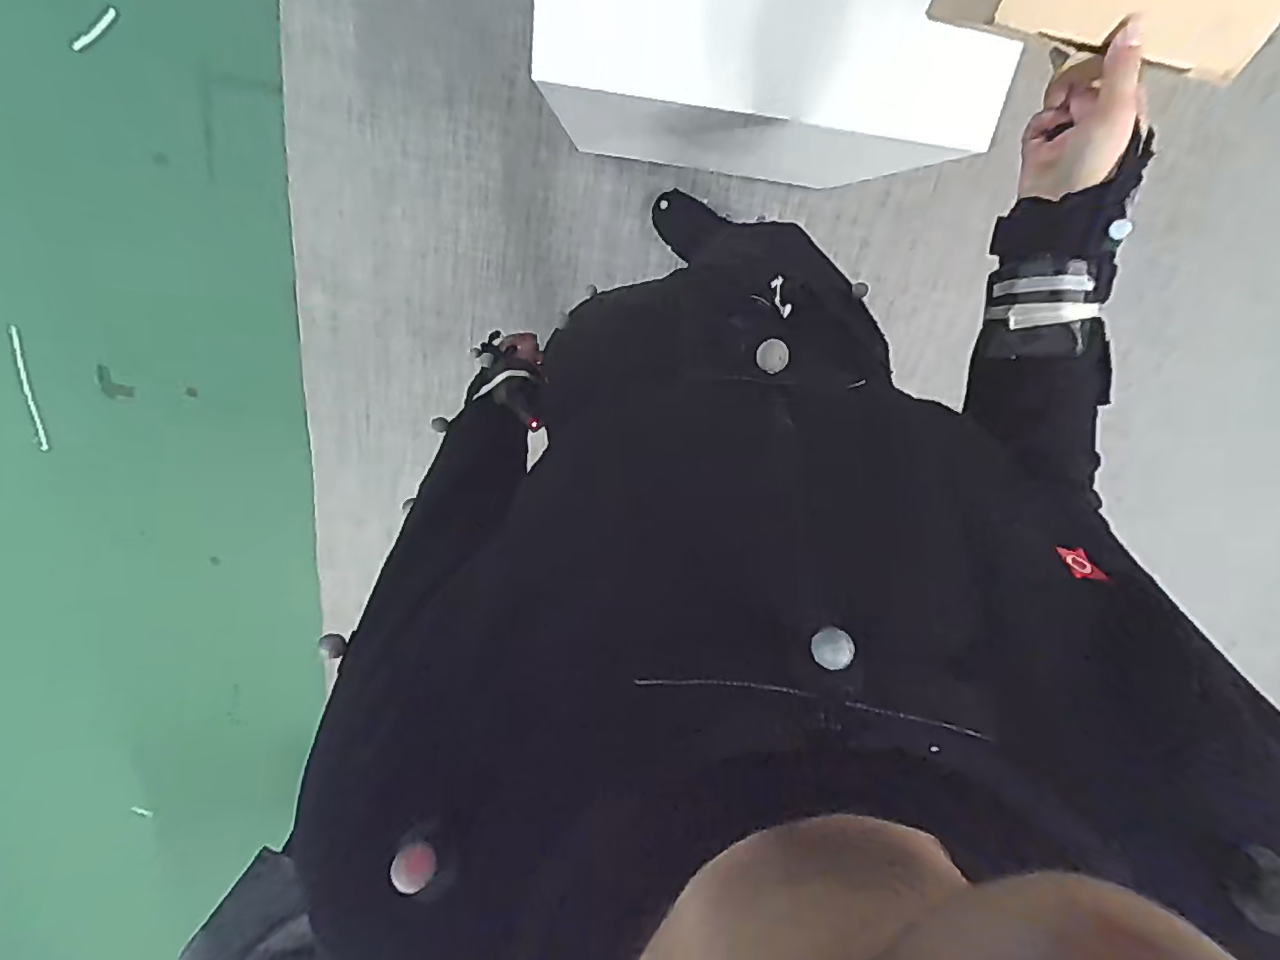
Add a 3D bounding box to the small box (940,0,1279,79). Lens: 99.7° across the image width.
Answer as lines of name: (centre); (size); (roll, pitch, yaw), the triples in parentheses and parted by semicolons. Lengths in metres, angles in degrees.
small box: (0.323, -0.388, 0.346); (0.168, 0.176, 0.179); (11, 132, -1)
